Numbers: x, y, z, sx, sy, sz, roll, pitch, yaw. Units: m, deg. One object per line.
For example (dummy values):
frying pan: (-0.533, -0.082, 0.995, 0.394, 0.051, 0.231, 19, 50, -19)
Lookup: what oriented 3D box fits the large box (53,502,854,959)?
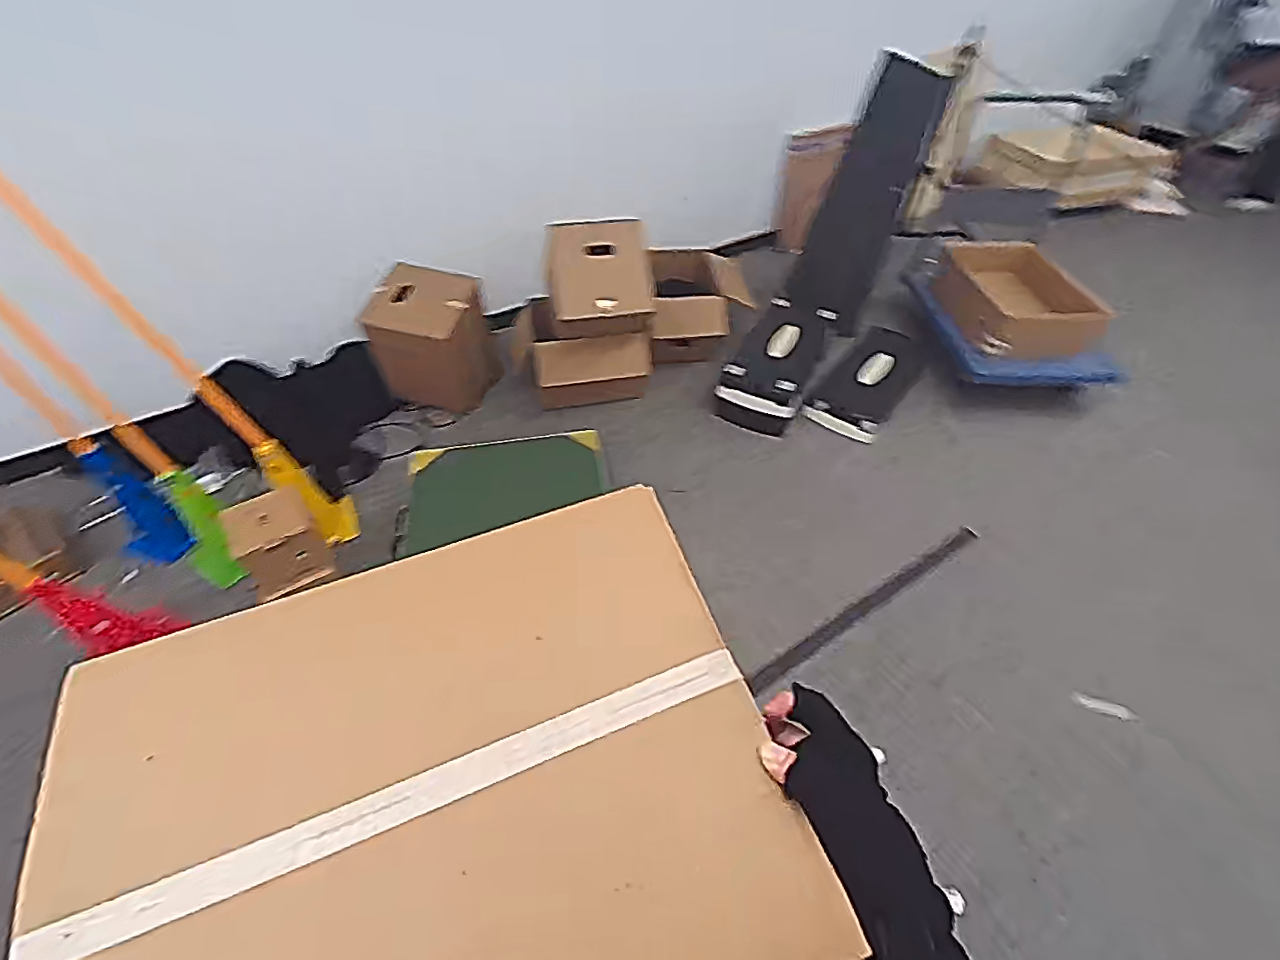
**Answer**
large box: (-0.120, 0.275, 0.446, 0.408, 0.320, 0.320, -17, 57, -11)
